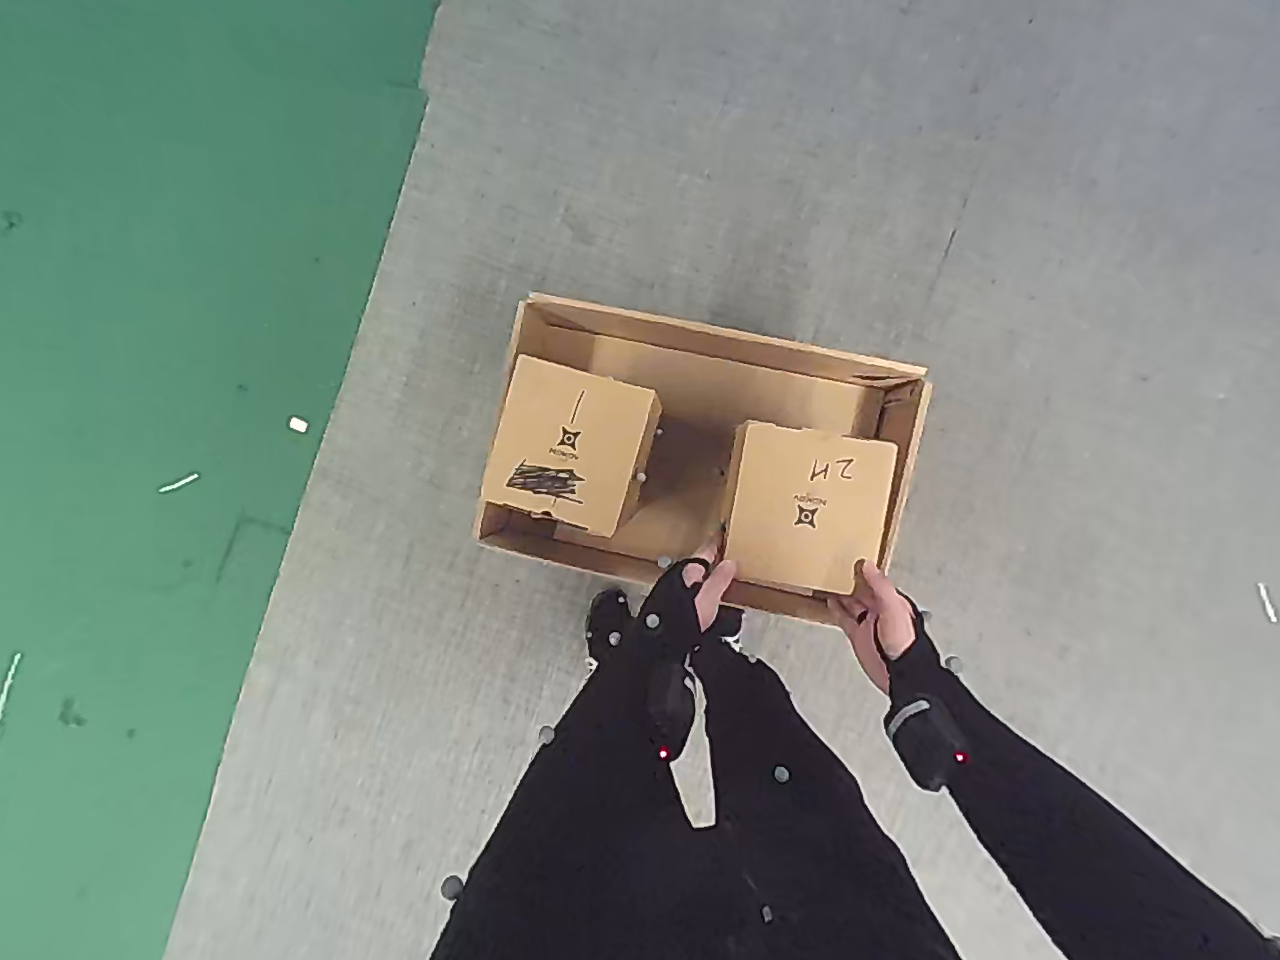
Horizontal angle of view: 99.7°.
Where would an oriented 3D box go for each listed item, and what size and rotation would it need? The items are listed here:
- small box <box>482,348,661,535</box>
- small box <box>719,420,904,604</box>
[{"bbox_3d":[-0.074,-0.045,0.687,0.168,0.176,0.179,17,92,4],"label":"small box"},{"bbox_3d":[0.194,0.032,0.665,0.168,0.176,0.179,11,92,4],"label":"small box"}]
